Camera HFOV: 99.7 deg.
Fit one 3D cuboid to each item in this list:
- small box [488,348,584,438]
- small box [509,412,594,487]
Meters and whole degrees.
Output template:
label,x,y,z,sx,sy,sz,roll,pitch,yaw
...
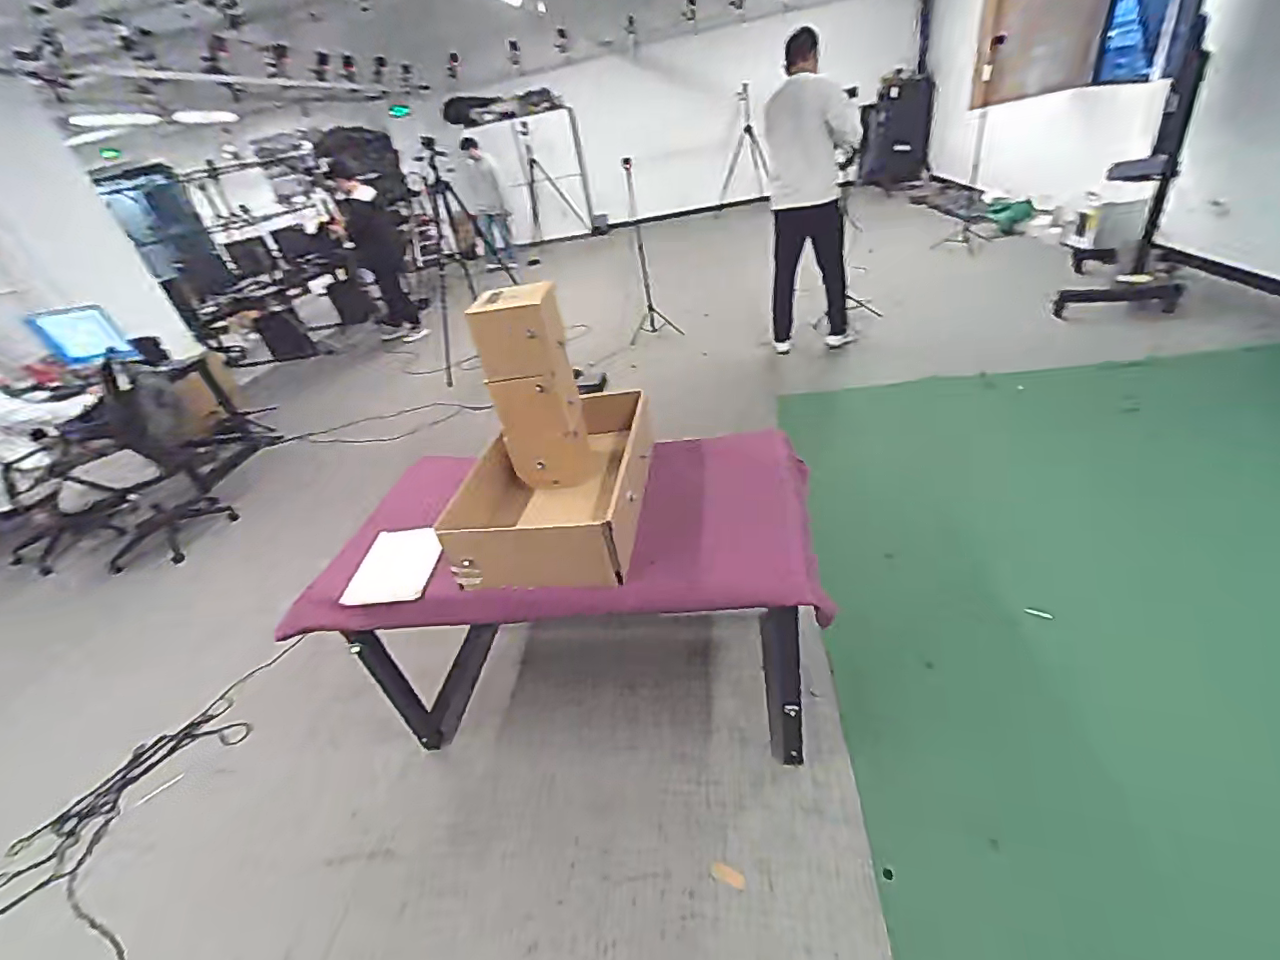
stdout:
label,x,y,z,sx,sy,sz,roll,pitch,yaw
small box,-0.260,-0.221,1.394,0.179,0.176,0.168,-5,36,10
small box,-0.236,-0.092,1.490,0.168,0.176,0.179,-4,36,13
